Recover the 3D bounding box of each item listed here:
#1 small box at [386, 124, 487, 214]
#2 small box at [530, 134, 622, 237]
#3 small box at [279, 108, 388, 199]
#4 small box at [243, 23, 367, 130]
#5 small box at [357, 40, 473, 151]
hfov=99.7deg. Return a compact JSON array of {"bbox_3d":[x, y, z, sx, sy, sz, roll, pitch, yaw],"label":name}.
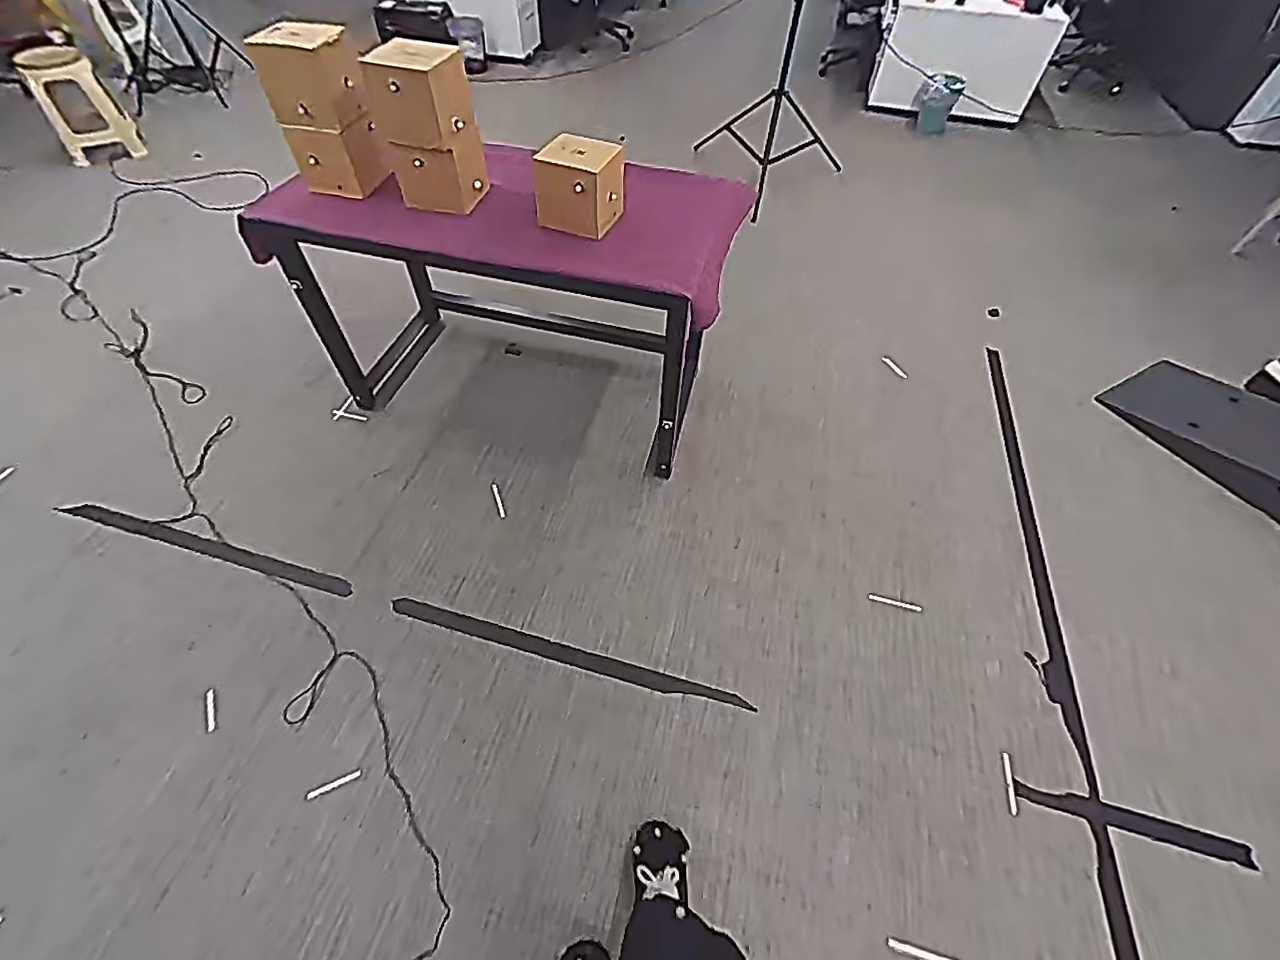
[{"bbox_3d":[-0.527,-0.828,1.428,0.179,0.176,0.168,11,54,5],"label":"small box"},{"bbox_3d":[-0.156,-0.747,1.381,0.179,0.176,0.168,18,54,12],"label":"small box"},{"bbox_3d":[-0.814,-0.887,1.463,0.168,0.176,0.179,10,53,5],"label":"small box"},{"bbox_3d":[-0.812,-0.992,1.336,0.179,0.176,0.168,9,53,3],"label":"small box"},{"bbox_3d":[-0.526,-0.915,1.291,0.179,0.176,0.168,14,55,6],"label":"small box"}]
